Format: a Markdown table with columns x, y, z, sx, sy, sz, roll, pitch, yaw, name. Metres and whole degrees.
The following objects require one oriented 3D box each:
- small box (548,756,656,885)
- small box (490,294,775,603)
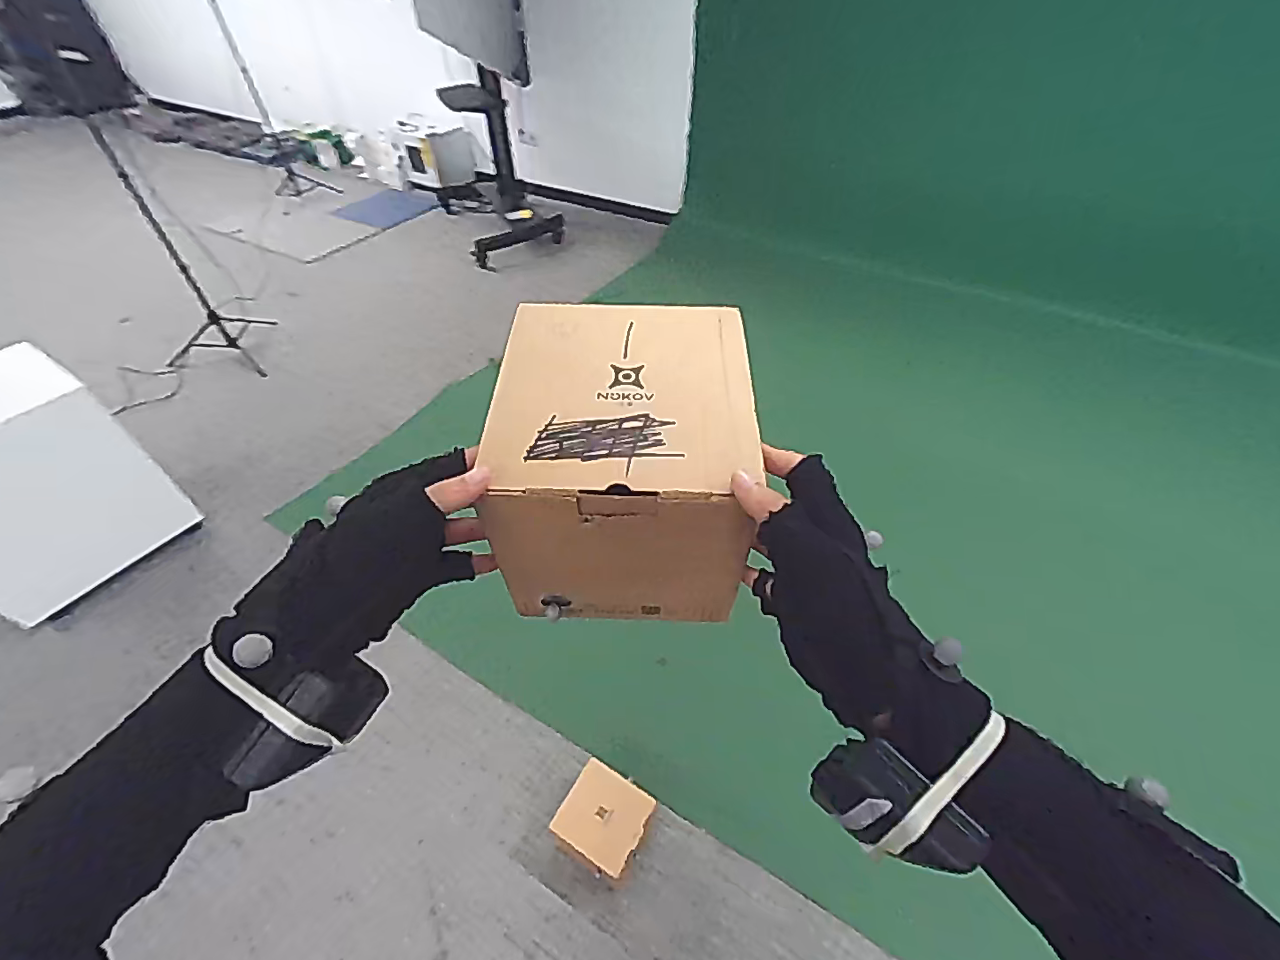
| x | y | z | sx | sy | sz | roll | pitch | yaw | name |
| --- | --- | --- | --- | --- | --- | --- | --- | --- | --- |
| -0.081 | 0.763 | 1.207 | 0.179 | 0.176 | 0.168 | 24 | 50 | 20 | small box |
| 0.000 | -0.019 | 0.415 | 0.168 | 0.176 | 0.179 | 2 | 51 | 1 | small box |
